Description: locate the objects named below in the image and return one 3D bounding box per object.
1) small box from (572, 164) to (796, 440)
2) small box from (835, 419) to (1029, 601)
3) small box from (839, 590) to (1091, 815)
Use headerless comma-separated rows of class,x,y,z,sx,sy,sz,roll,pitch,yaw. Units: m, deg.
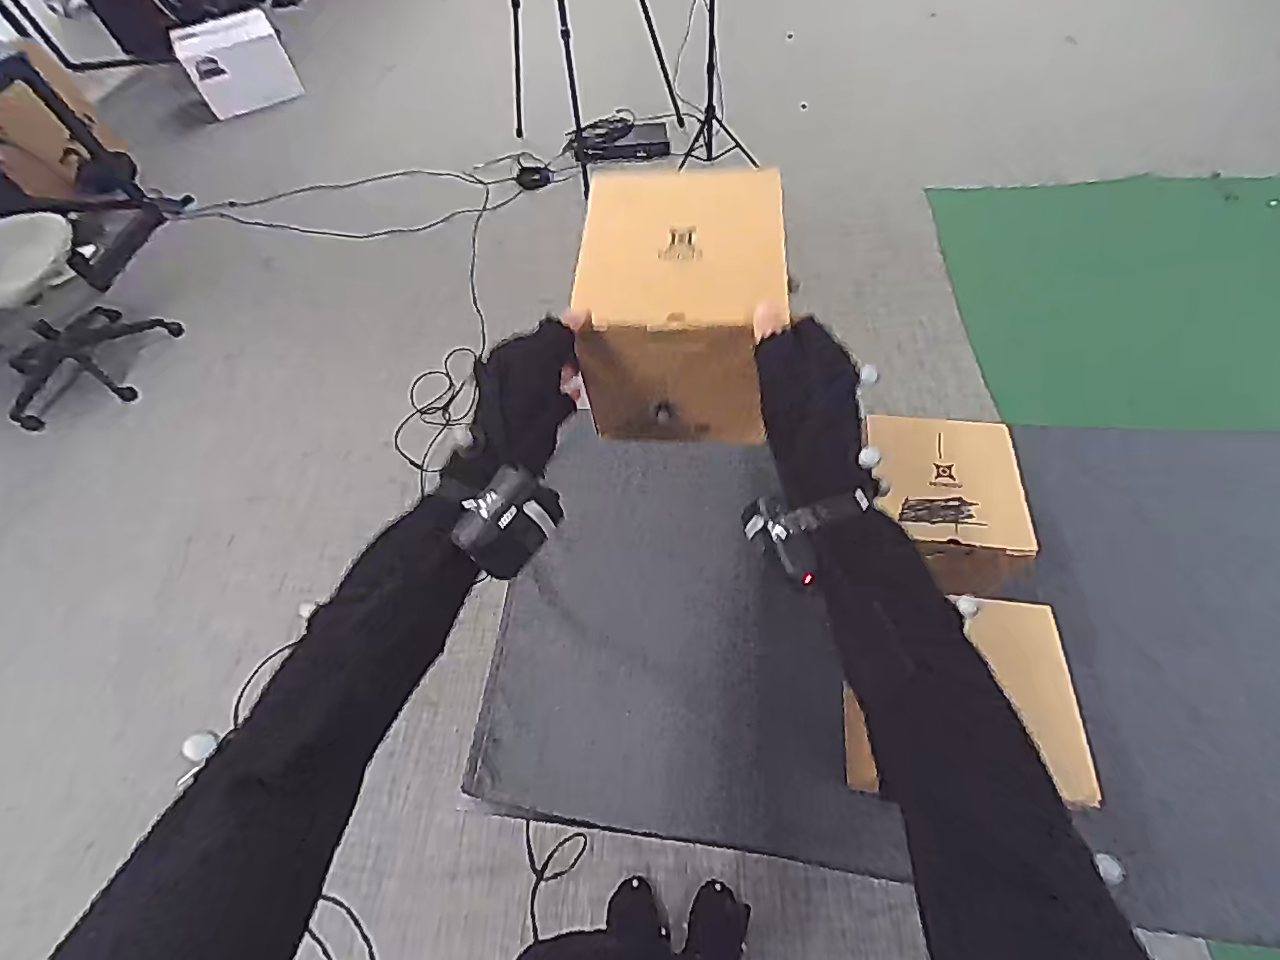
small box,0.041,-0.155,0.497,0.168,0.176,0.179,0,65,6
small box,0.352,0.046,0.691,0.168,0.176,0.179,5,58,9
small box,0.314,0.237,0.571,0.168,0.176,0.179,5,57,9
